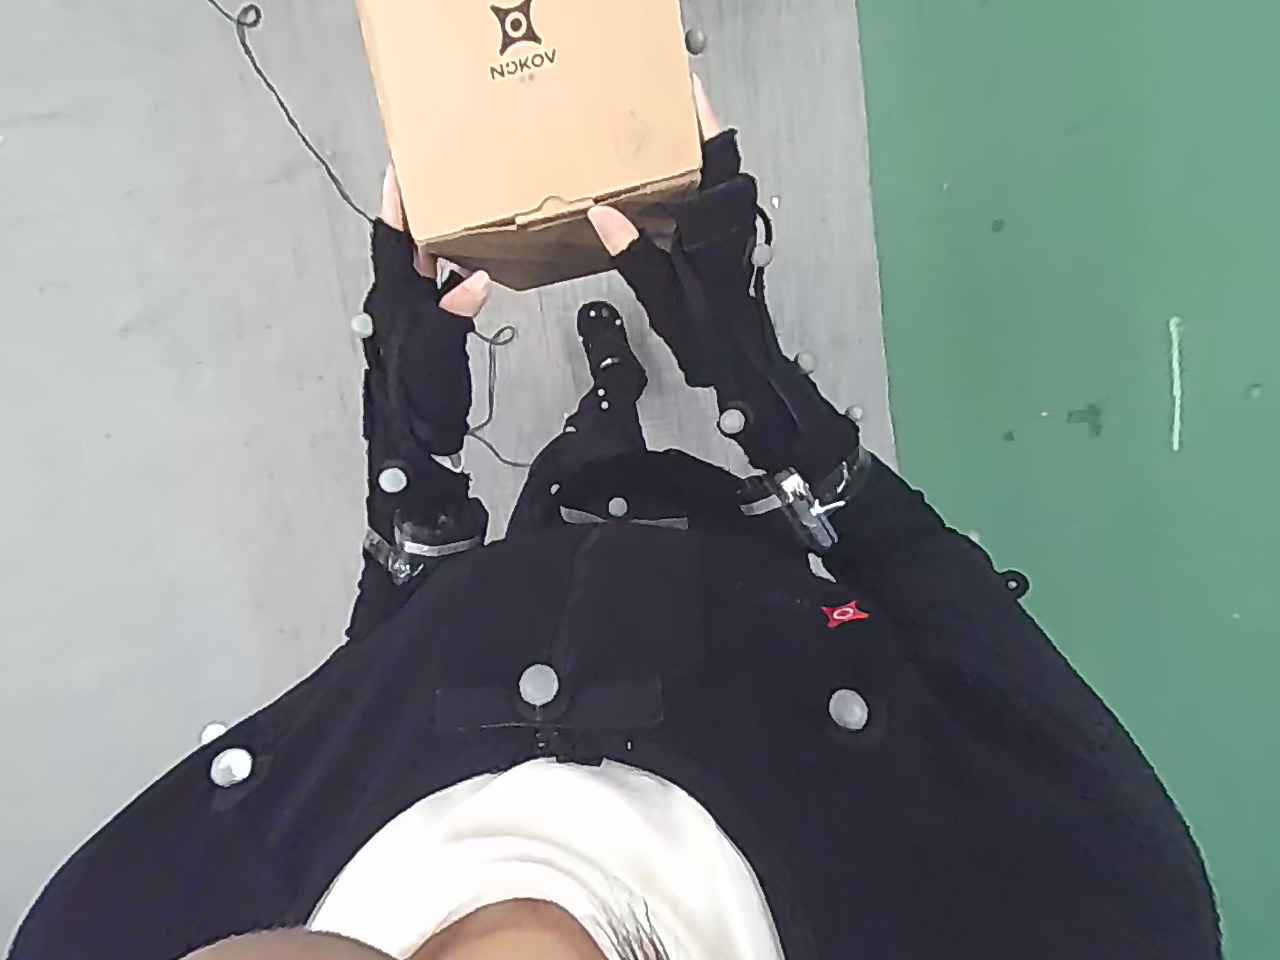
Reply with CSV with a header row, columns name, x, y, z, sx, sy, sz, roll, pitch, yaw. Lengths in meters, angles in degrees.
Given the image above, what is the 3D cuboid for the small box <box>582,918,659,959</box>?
name,x,y,z,sx,sy,sz,roll,pitch,yaw
small box,-0.043,1.174,1.269,0.168,0.176,0.179,-10,96,5

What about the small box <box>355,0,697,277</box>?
name,x,y,z,sx,sy,sz,roll,pitch,yaw
small box,-0.056,-0.247,0.363,0.168,0.176,0.179,-10,98,9

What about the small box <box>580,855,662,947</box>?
name,x,y,z,sx,sy,sz,roll,pitch,yaw
small box,-0.044,1.135,1.429,0.179,0.176,0.168,-11,97,6
